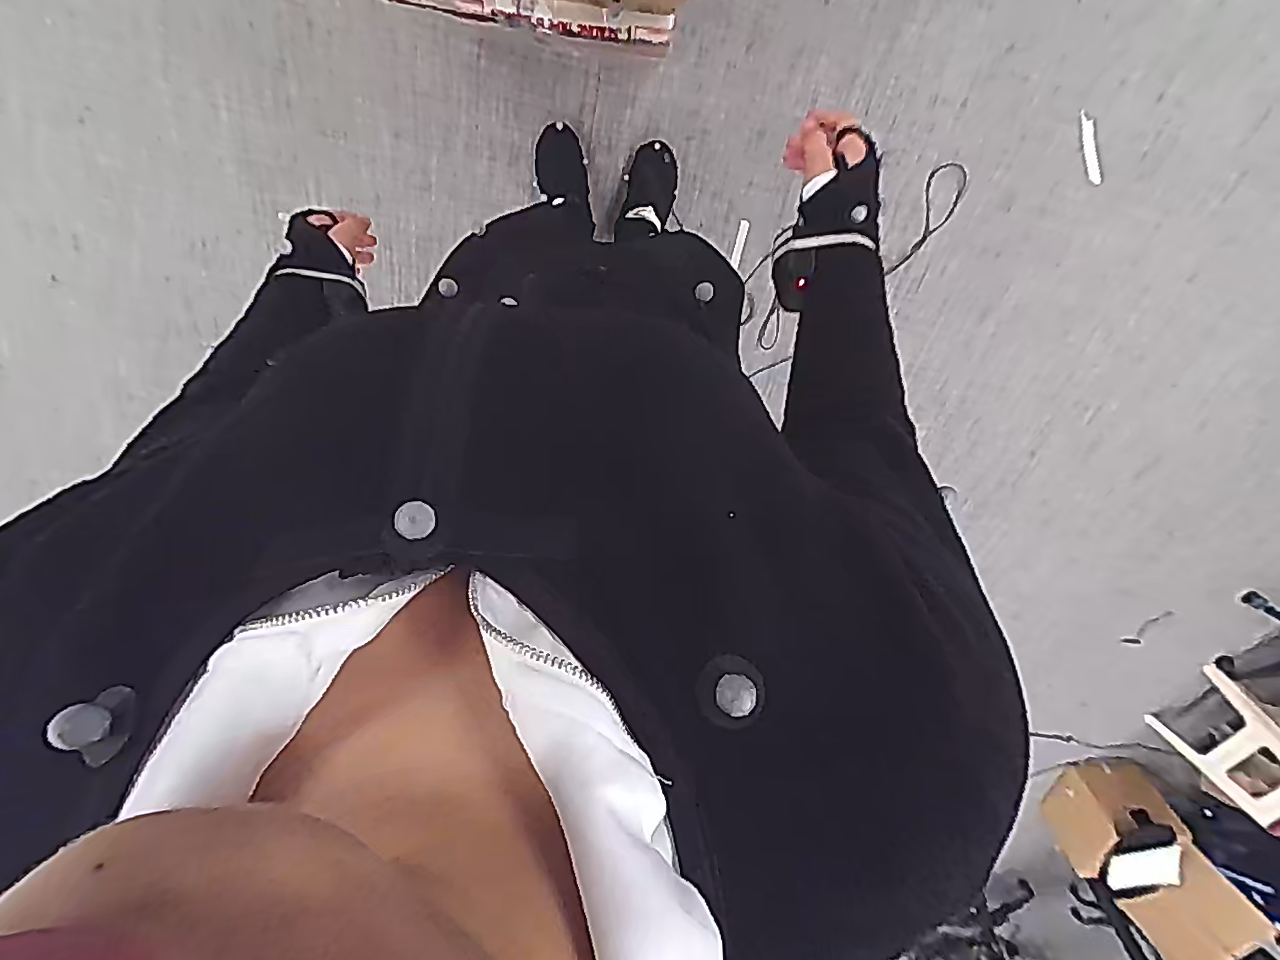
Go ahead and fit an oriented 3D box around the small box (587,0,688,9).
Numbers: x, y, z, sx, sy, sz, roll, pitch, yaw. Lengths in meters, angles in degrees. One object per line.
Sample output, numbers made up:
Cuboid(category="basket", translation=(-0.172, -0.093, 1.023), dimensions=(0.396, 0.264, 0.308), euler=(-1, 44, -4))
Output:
Cuboid(category="small box", translation=(-0.026, -0.634, 0.588), dimensions=(0.179, 0.176, 0.168), euler=(4, 127, -3))
